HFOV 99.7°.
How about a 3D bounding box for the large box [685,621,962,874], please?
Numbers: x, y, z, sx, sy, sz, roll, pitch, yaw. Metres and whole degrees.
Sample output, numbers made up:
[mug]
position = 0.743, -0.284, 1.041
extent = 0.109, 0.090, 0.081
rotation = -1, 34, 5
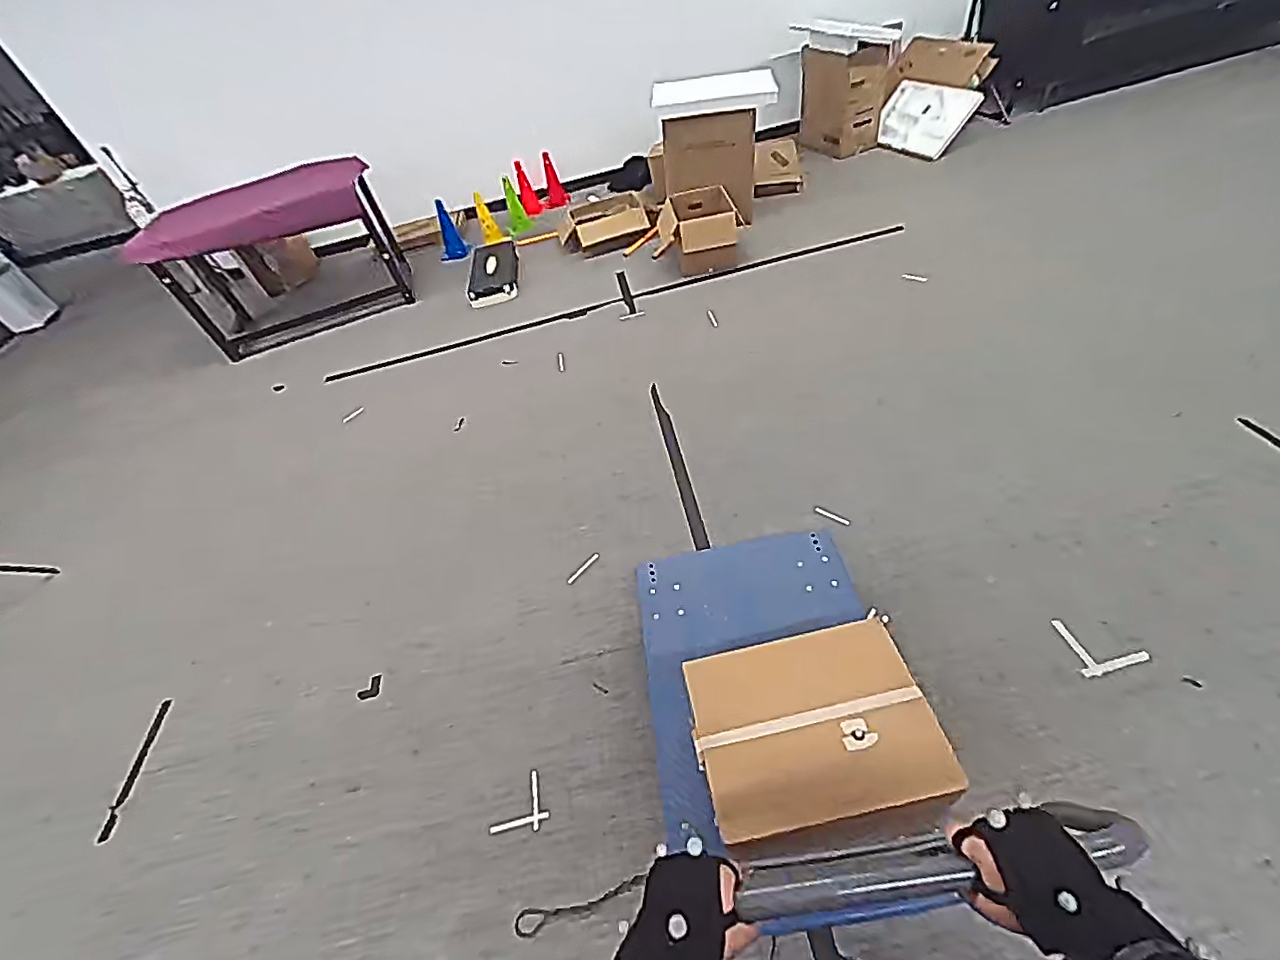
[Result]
[large box]
position = 0.329, 0.536, 1.080
extent = 0.408, 0.320, 0.320
rotation = -13, 47, 0
